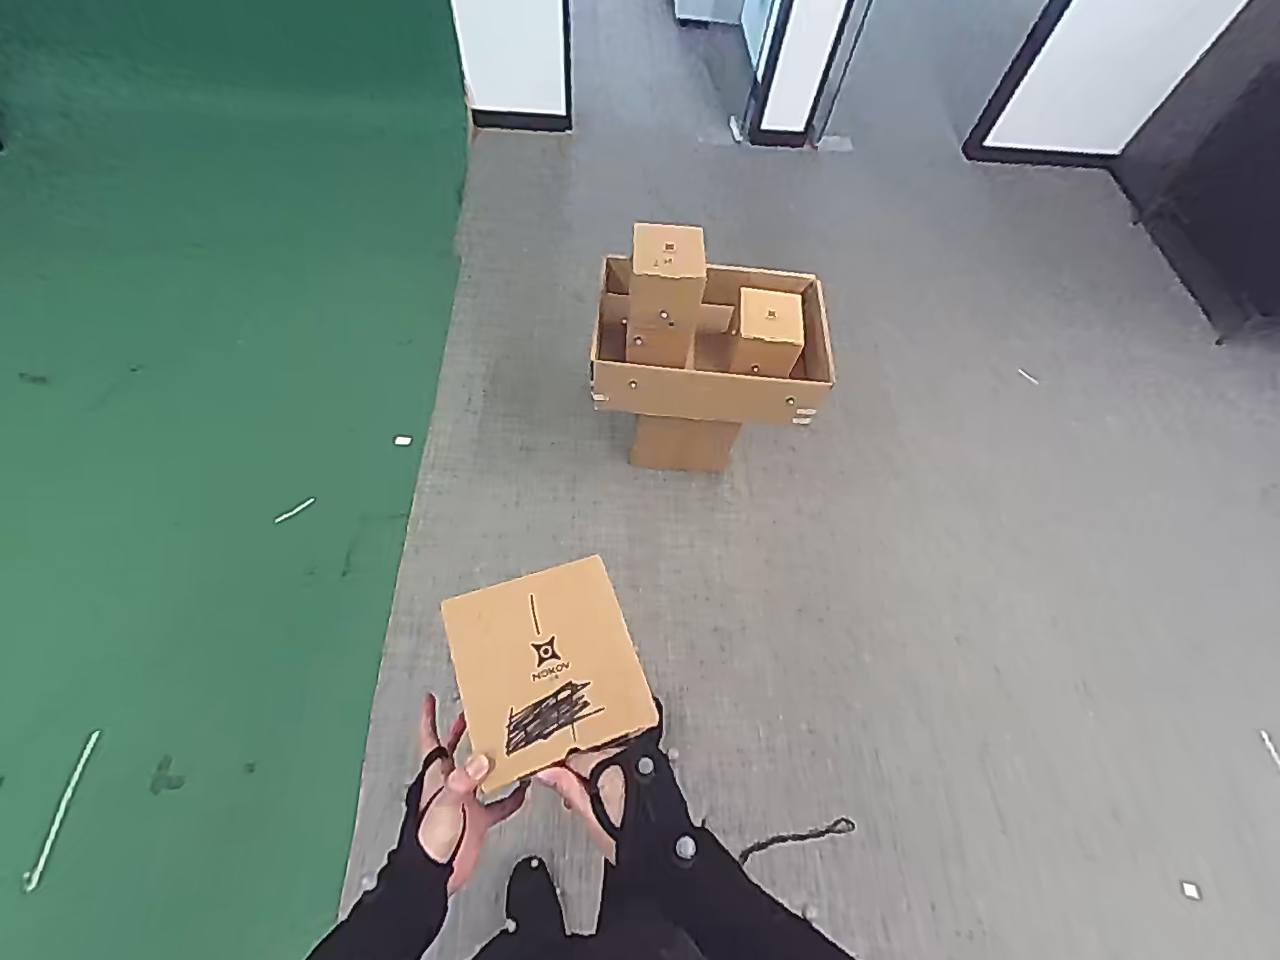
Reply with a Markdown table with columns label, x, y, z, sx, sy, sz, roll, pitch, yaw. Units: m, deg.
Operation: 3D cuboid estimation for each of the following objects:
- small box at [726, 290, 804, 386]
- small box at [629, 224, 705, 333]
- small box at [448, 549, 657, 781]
| label | x | y | z | sx | sy | sz | roll | pitch | yaw |
| --- | --- | --- | --- | --- | --- | --- | --- | --- | --- |
| small box | 0.333 | -0.383 | 1.471 | 0.168 | 0.176 | 0.179 | 7 | 62 | -2 |
| small box | 0.060 | -0.485 | 1.309 | 0.168 | 0.176 | 0.179 | 3 | 61 | -3 |
| small box | -0.097 | 0.197 | 0.581 | 0.168 | 0.176 | 0.179 | -13 | 67 | -17 |
